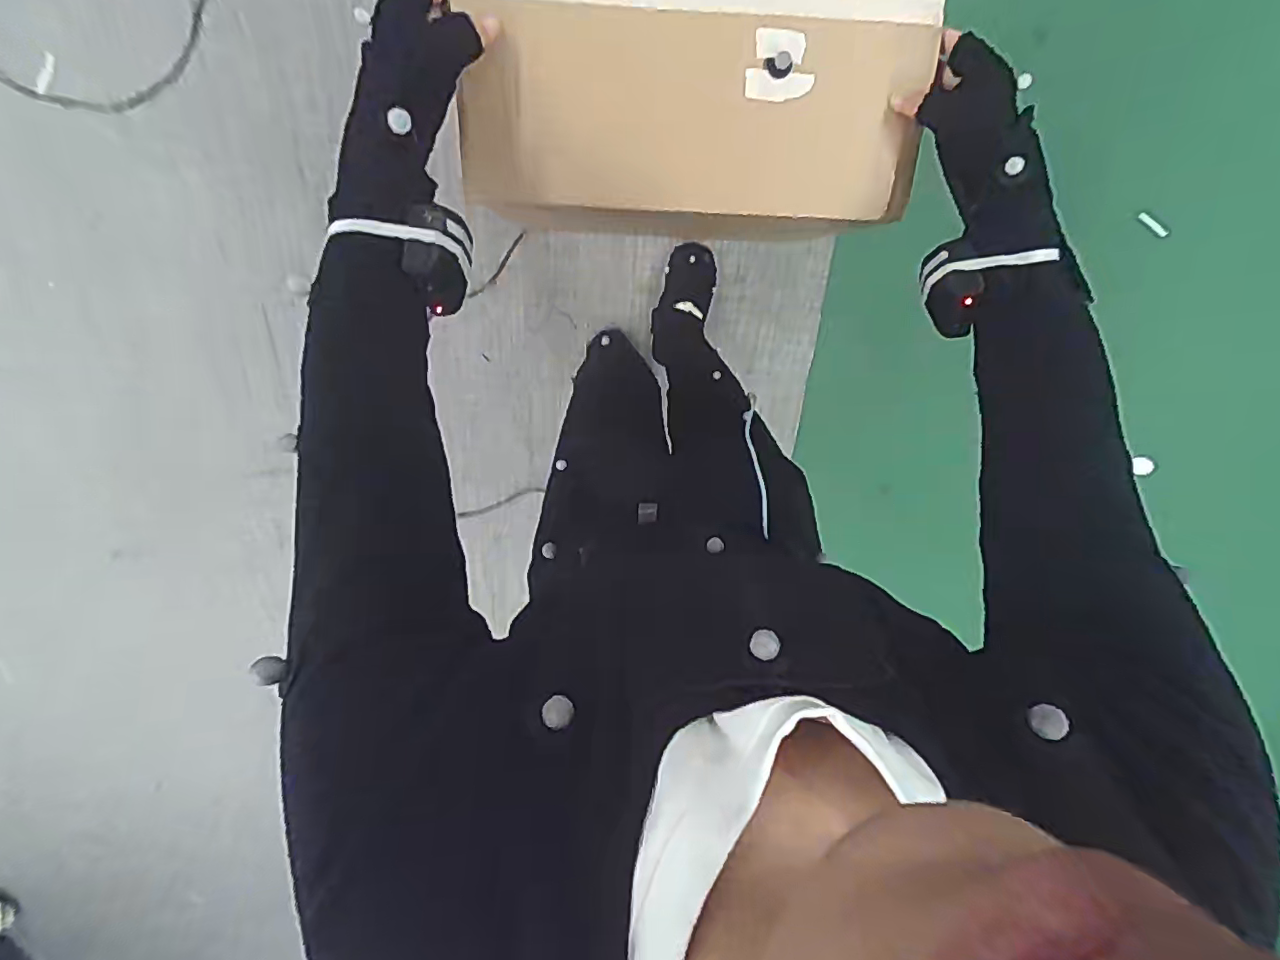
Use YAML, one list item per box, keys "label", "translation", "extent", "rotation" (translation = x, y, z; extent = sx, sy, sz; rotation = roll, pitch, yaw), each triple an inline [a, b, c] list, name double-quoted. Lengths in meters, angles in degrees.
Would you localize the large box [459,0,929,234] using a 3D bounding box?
- label: "large box"
  translation: [0.037, -0.453, 0.589]
  extent: [0.408, 0.320, 0.320]
  rotation: [0, 111, -5]
